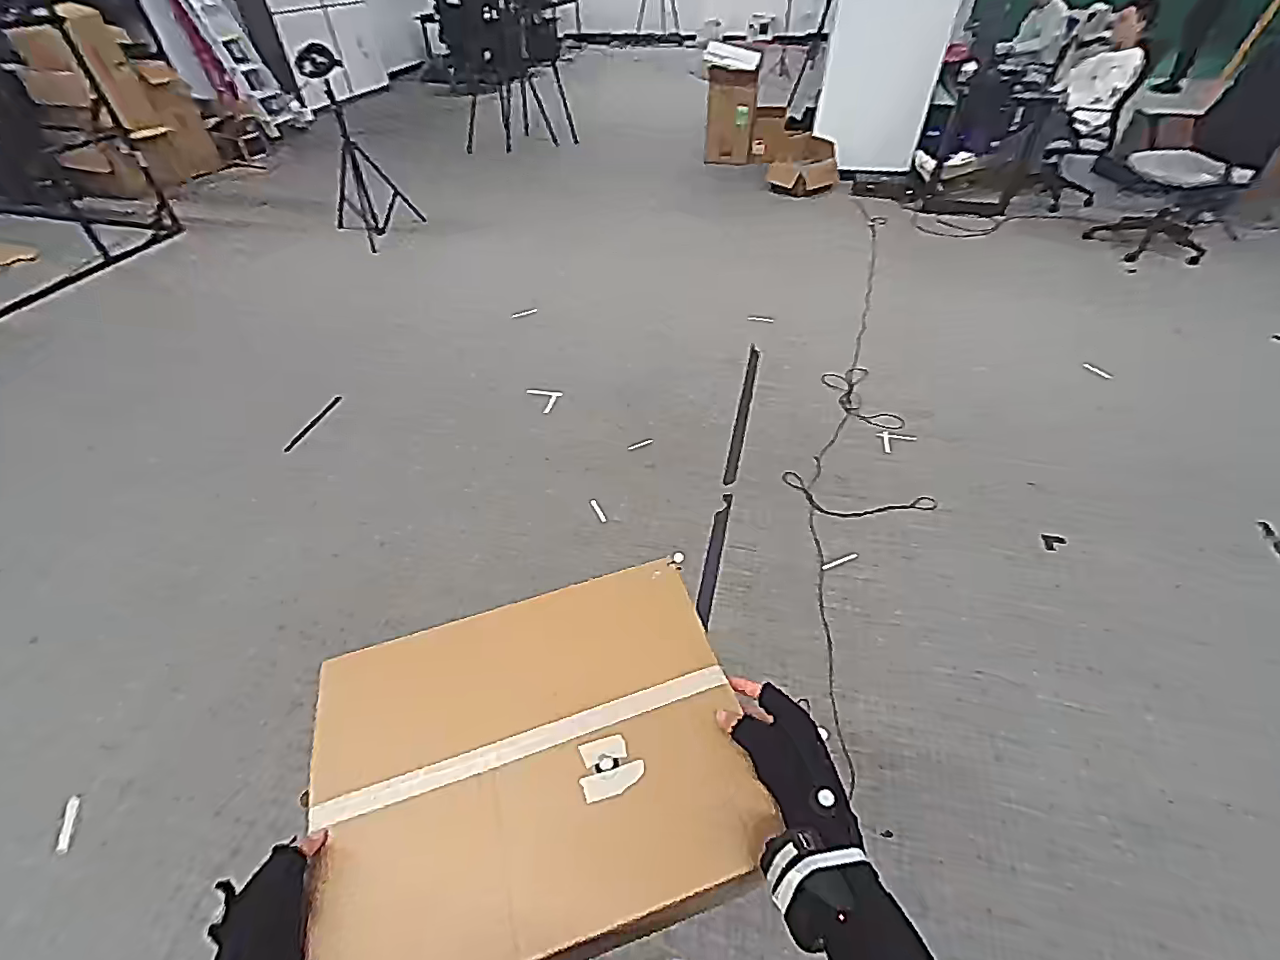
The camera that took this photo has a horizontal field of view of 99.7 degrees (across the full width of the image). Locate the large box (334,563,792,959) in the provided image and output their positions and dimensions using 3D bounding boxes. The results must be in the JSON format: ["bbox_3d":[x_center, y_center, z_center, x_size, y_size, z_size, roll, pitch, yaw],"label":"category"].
[{"bbox_3d":[-0.088,0.358,0.655,0.408,0.320,0.320,-14,50,-10],"label":"large box"}]
